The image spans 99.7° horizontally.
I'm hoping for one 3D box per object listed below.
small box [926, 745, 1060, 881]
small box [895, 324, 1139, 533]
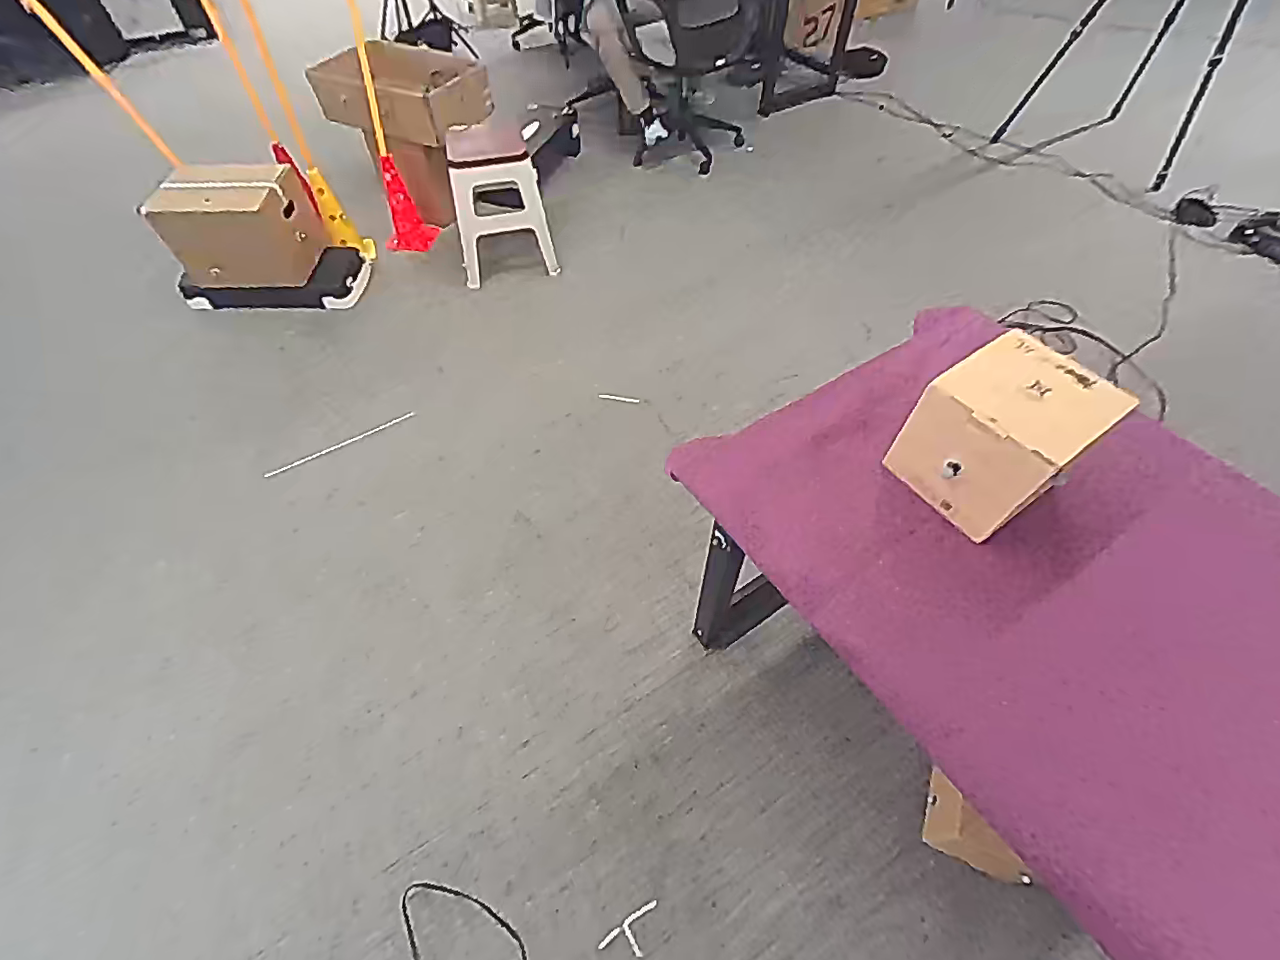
[{"bbox_3d":[0.694,0.657,1.070,0.168,0.176,0.179,20,58,16],"label":"small box"},{"bbox_3d":[0.463,-0.062,0.699,0.179,0.176,0.168,-30,60,-18],"label":"small box"}]
